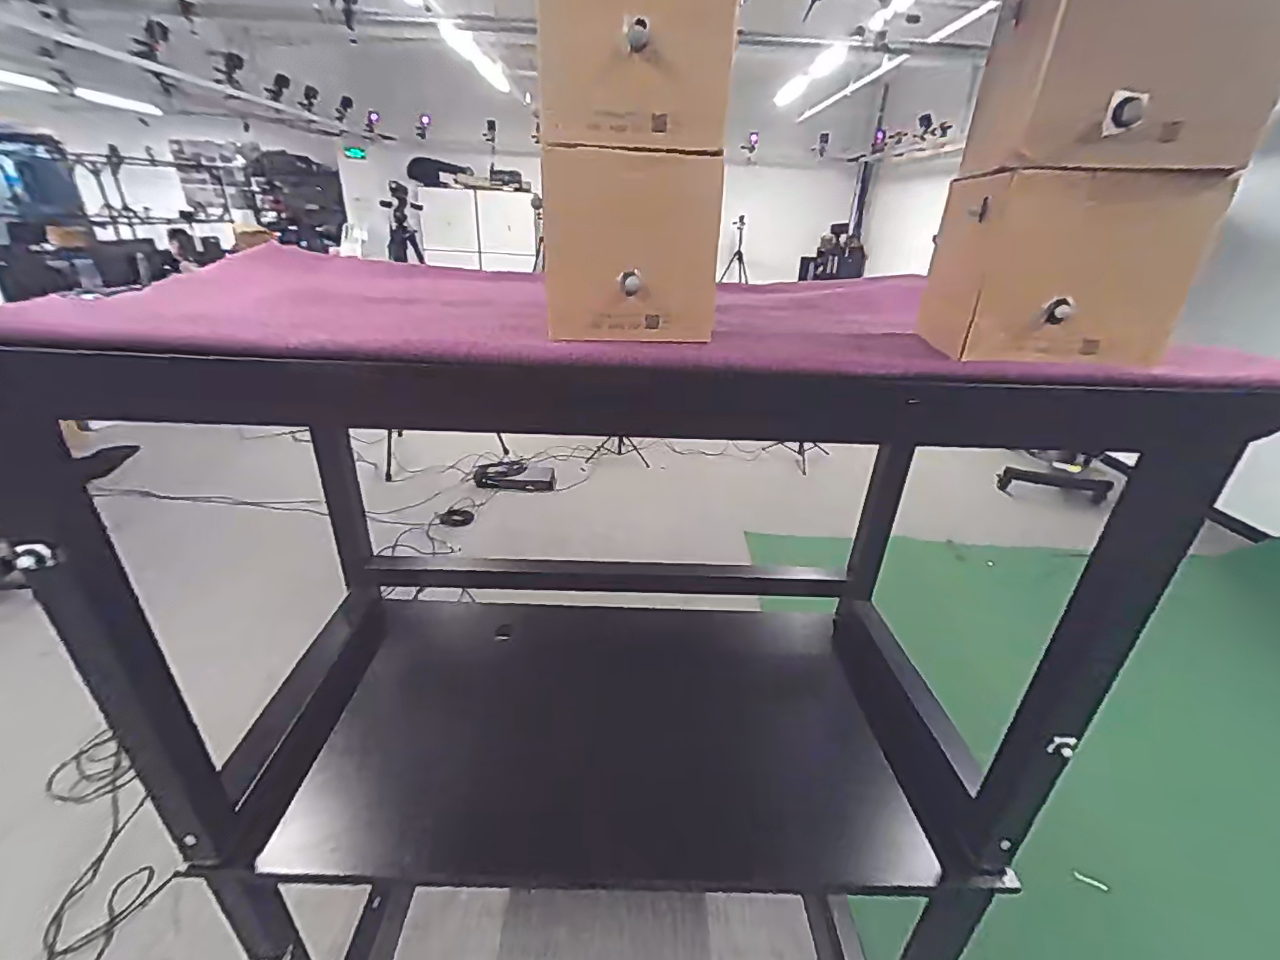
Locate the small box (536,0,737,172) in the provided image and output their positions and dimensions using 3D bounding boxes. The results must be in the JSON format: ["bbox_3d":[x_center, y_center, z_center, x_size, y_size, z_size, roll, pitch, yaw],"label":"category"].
[{"bbox_3d":[-0.005,-0.395,0.514,0.168,0.176,0.179,1,26,-3],"label":"small box"}]

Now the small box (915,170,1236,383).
[{"bbox_3d":[0.401,-0.208,0.545,0.168,0.176,0.179,6,27,8],"label":"small box"}]

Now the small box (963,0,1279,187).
[{"bbox_3d":[0.407,-0.349,0.466,0.168,0.176,0.179,7,28,12],"label":"small box"}]
